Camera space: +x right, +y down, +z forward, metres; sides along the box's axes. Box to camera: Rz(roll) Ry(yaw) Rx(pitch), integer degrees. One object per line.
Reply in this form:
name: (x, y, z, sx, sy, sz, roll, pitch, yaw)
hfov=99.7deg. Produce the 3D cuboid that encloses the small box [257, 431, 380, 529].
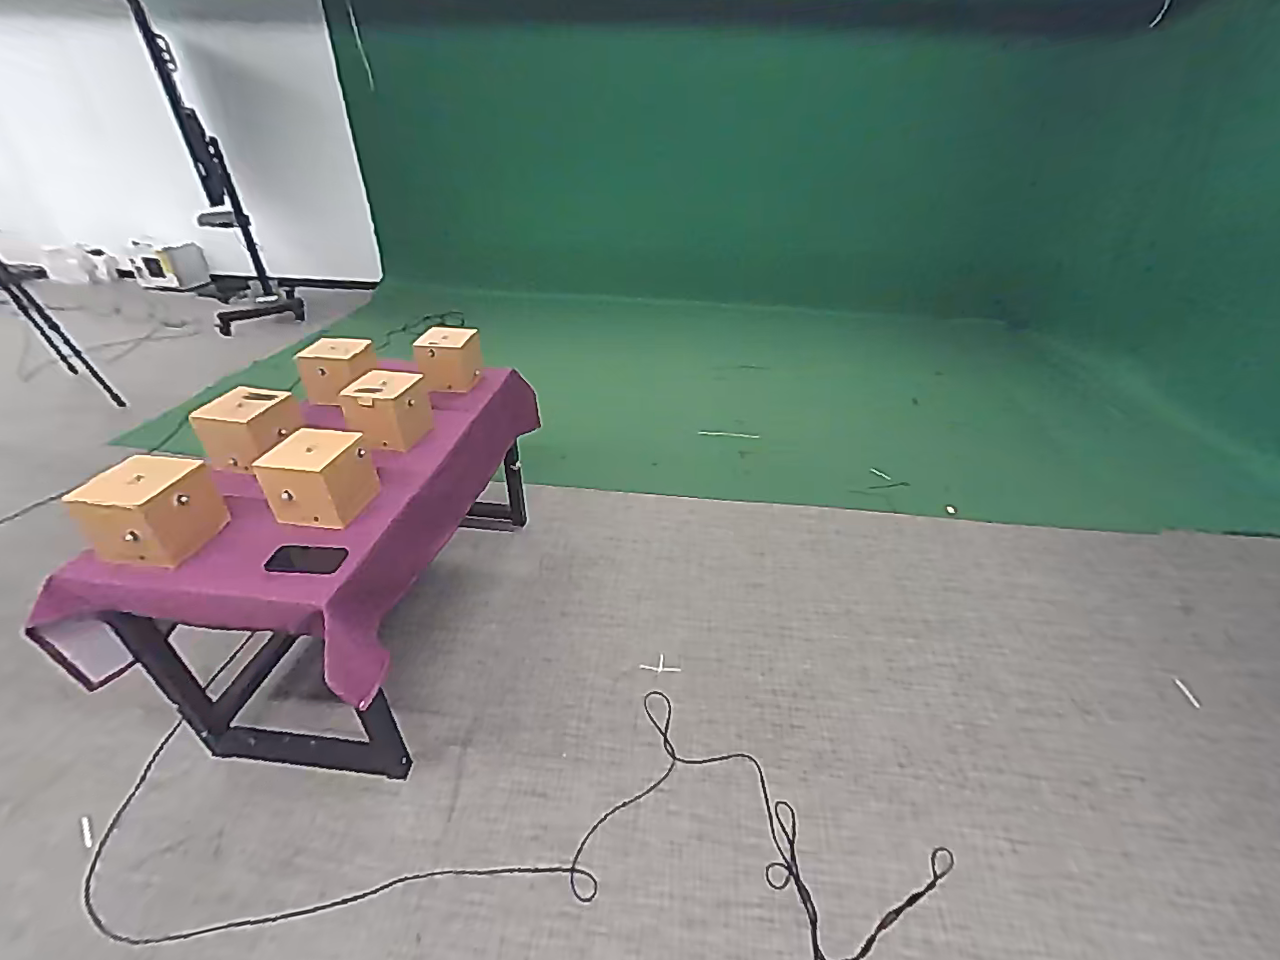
small box: (-0.754, 0.000, 1.293, 0.168, 0.176, 0.179, 5, 33, 6)

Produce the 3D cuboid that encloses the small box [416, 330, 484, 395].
small box: (-0.659, -0.415, 1.901, 0.168, 0.176, 0.179, 4, 34, 4)

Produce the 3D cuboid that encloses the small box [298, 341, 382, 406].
small box: (-0.982, -0.352, 1.795, 0.179, 0.176, 0.168, 4, 35, 3)

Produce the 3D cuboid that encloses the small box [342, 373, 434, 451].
small box: (-0.726, -0.199, 1.583, 0.168, 0.176, 0.179, 7, 34, 8)
